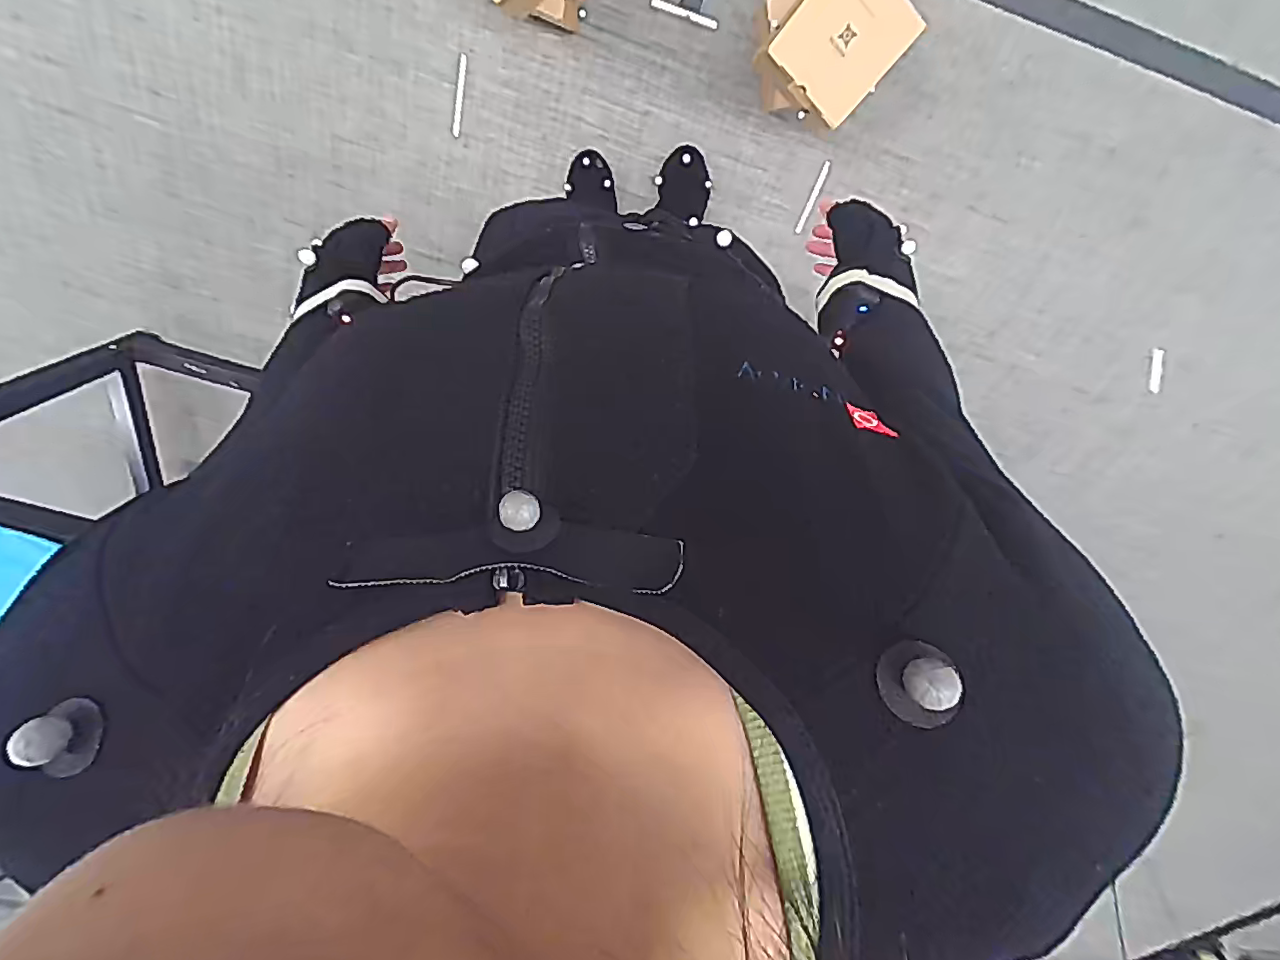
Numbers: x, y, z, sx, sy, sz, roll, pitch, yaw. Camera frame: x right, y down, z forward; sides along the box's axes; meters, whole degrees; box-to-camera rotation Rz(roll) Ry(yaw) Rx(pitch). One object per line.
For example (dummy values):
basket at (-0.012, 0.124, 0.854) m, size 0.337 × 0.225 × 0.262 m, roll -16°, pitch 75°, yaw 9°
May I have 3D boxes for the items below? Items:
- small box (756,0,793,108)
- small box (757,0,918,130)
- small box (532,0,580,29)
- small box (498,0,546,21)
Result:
small box at (0.318, -0.820, 1.022) m, size 0.179 × 0.176 × 0.168 m, roll -9°, pitch 124°, yaw 10°
small box at (0.310, -0.718, 0.893) m, size 0.168 × 0.176 × 0.179 m, roll 36°, pitch 119°, yaw -21°
small box at (-0.190, -0.947, 0.971) m, size 0.179 × 0.176 × 0.168 m, roll 19°, pitch 122°, yaw -7°
small box at (-0.196, -0.864, 0.825) m, size 0.168 × 0.176 × 0.179 m, roll -30°, pitch 116°, yaw 21°
